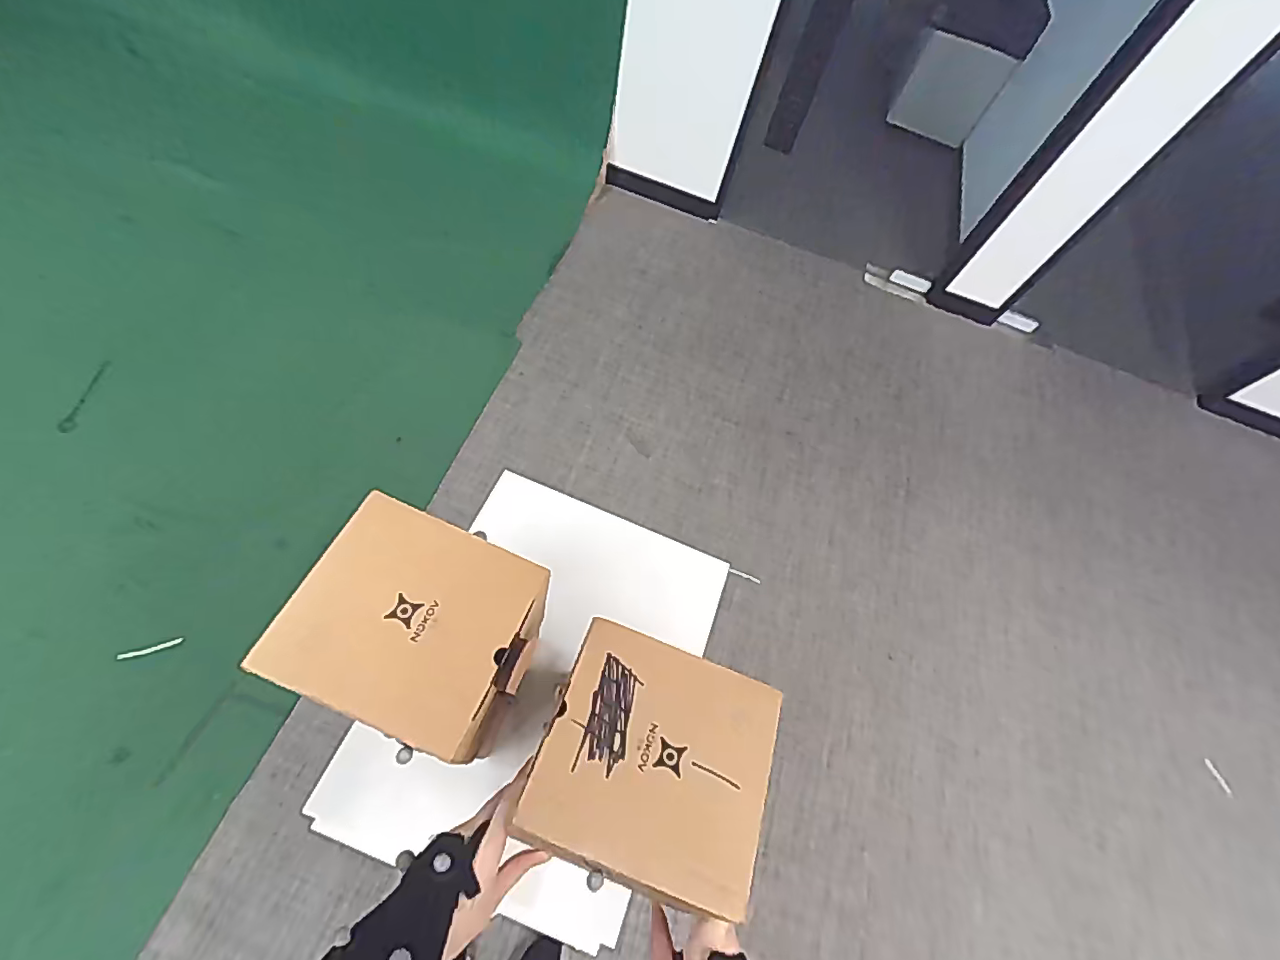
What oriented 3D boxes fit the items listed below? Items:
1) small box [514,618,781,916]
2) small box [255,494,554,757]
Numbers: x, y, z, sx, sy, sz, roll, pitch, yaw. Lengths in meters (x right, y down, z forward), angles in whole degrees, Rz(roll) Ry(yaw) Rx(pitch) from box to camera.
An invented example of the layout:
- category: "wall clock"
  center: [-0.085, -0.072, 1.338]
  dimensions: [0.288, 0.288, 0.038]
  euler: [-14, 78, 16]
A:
- category: "small box"
  center: [0.000, 0.257, 0.484]
  dimensions: [0.179, 0.176, 0.168]
  euler: [23, 52, 2]
- category: "small box"
  center: [-0.202, 0.148, 0.513]
  dimensions: [0.179, 0.176, 0.168]
  euler: [25, 59, -1]
